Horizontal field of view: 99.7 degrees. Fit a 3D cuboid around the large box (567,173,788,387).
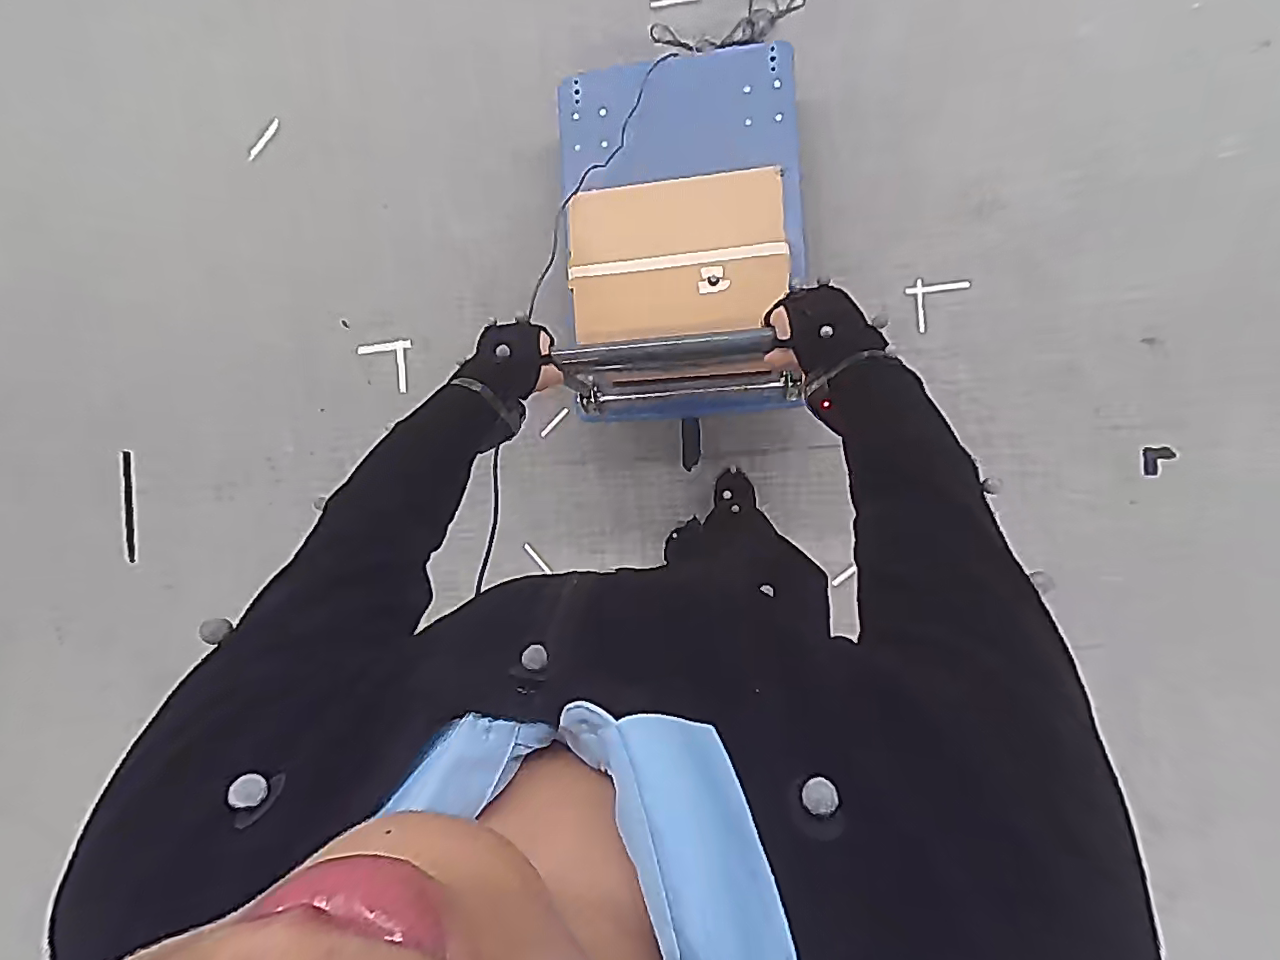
[{"bbox_3d":[0.083,-0.395,1.159,0.408,0.320,0.320,-3,89,8],"label":"large box"}]
